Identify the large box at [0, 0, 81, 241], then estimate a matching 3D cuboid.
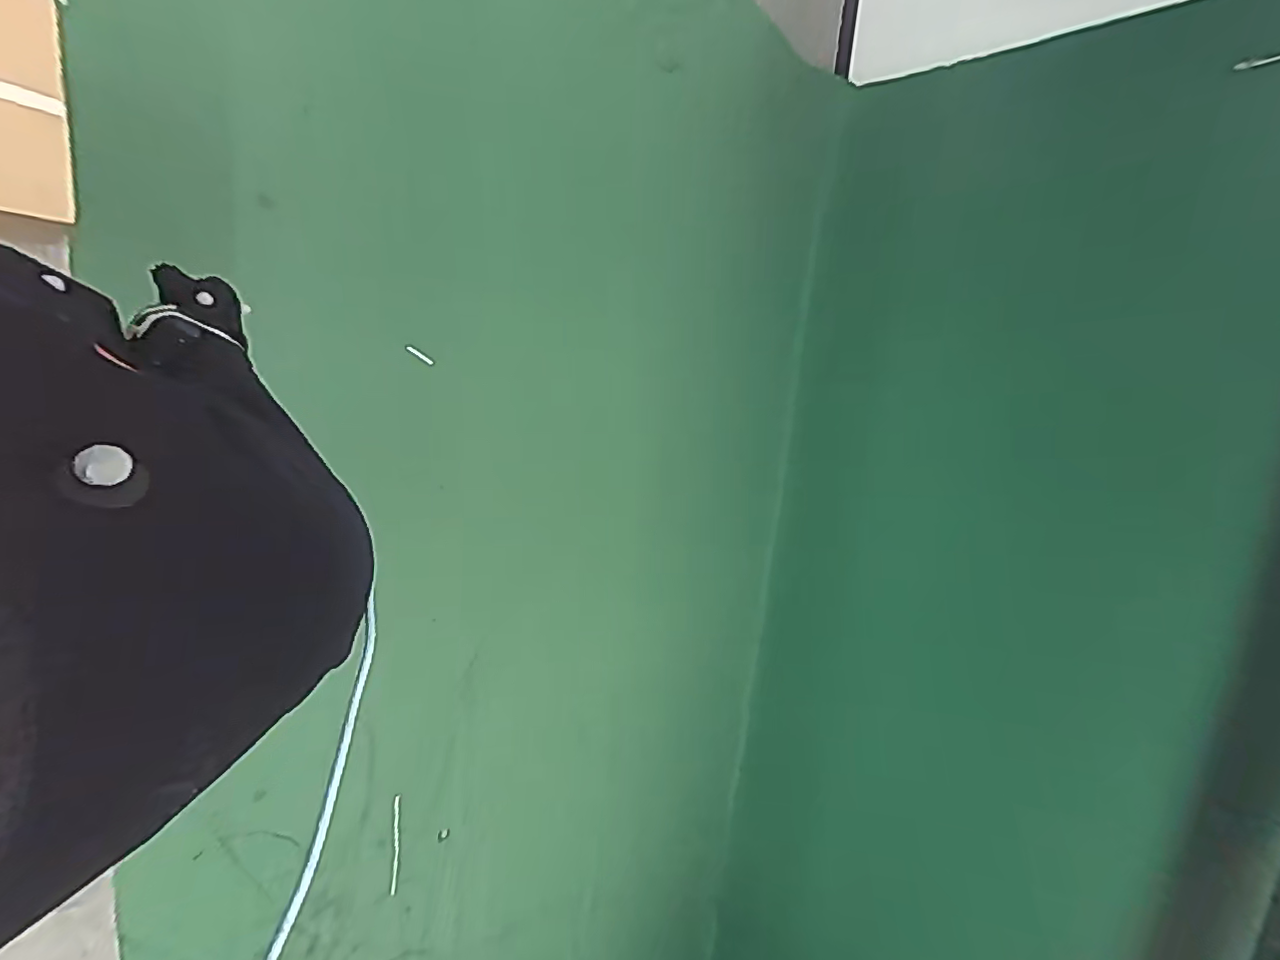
[{"bbox_3d":[-1.076,-0.547,0.732,0.408,0.320,0.320,-7,106,-50],"label":"large box"}]
